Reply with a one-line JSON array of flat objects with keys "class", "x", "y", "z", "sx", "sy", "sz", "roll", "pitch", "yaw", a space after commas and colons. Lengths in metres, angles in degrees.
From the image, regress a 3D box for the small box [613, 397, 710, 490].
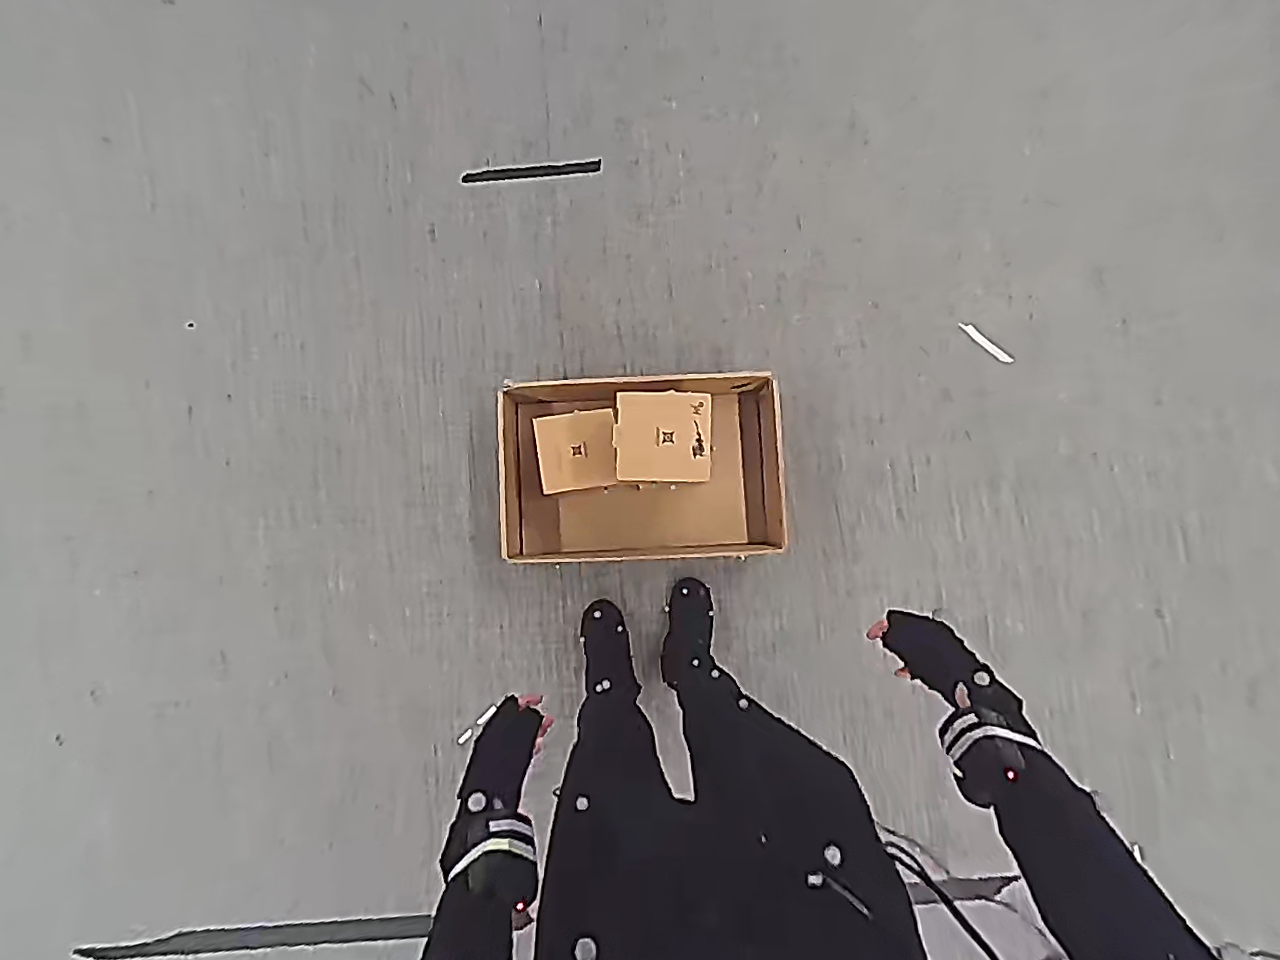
[{"class": "small box", "x": 0.043, "y": -0.066, "z": 1.070, "sx": 0.179, "sy": 0.176, "sz": 0.168, "roll": 1, "pitch": 87, "yaw": 1}]
